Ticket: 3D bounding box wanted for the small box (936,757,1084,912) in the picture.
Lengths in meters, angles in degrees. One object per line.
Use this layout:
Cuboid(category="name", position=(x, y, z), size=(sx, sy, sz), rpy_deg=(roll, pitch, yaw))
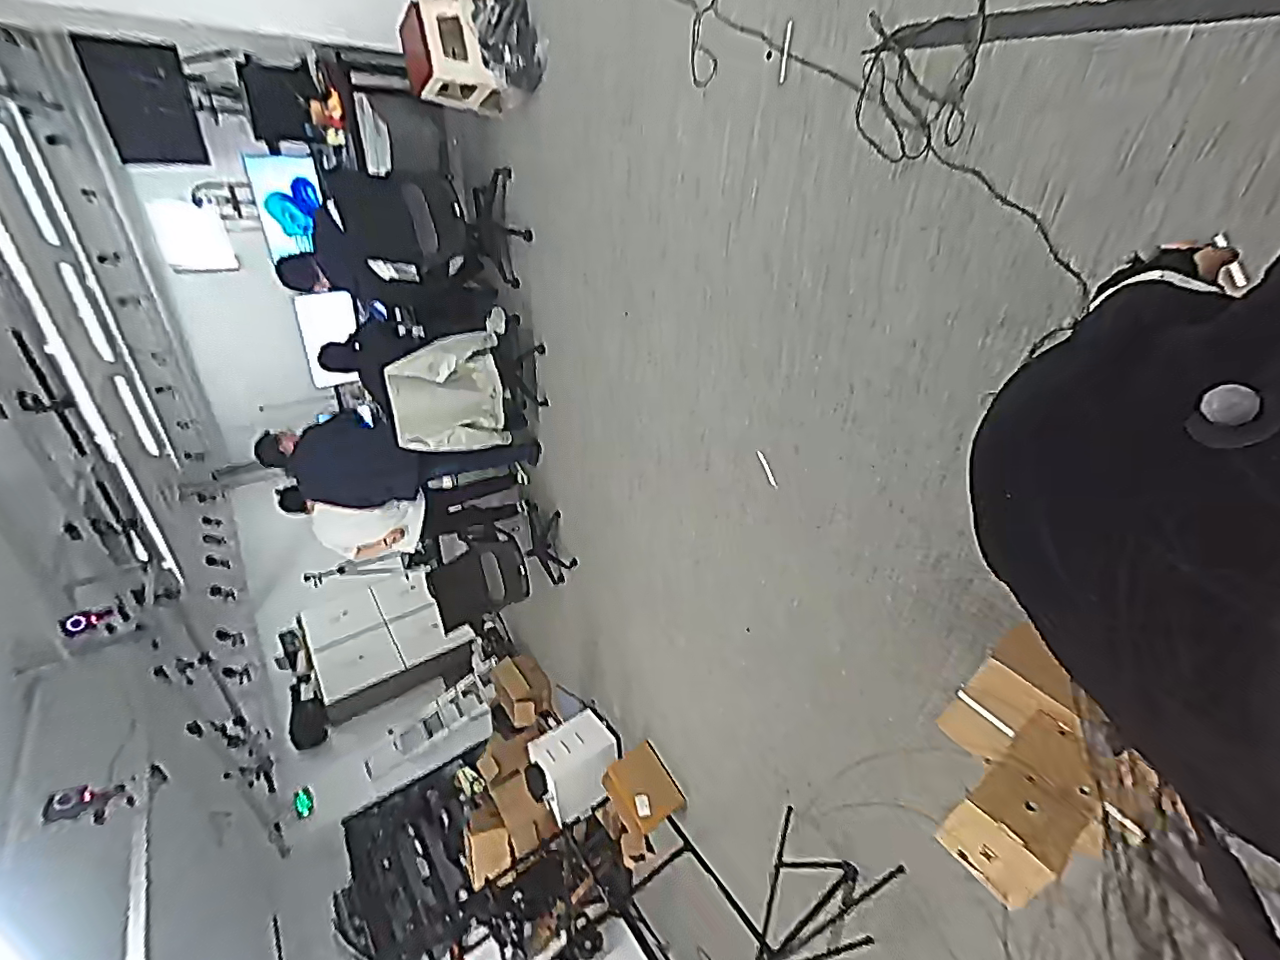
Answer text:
Cuboid(category="small box", position=(0.747, 0.704, 1.090), size=(0.168, 0.176, 0.179), rpy_deg=(40, 136, 39))
